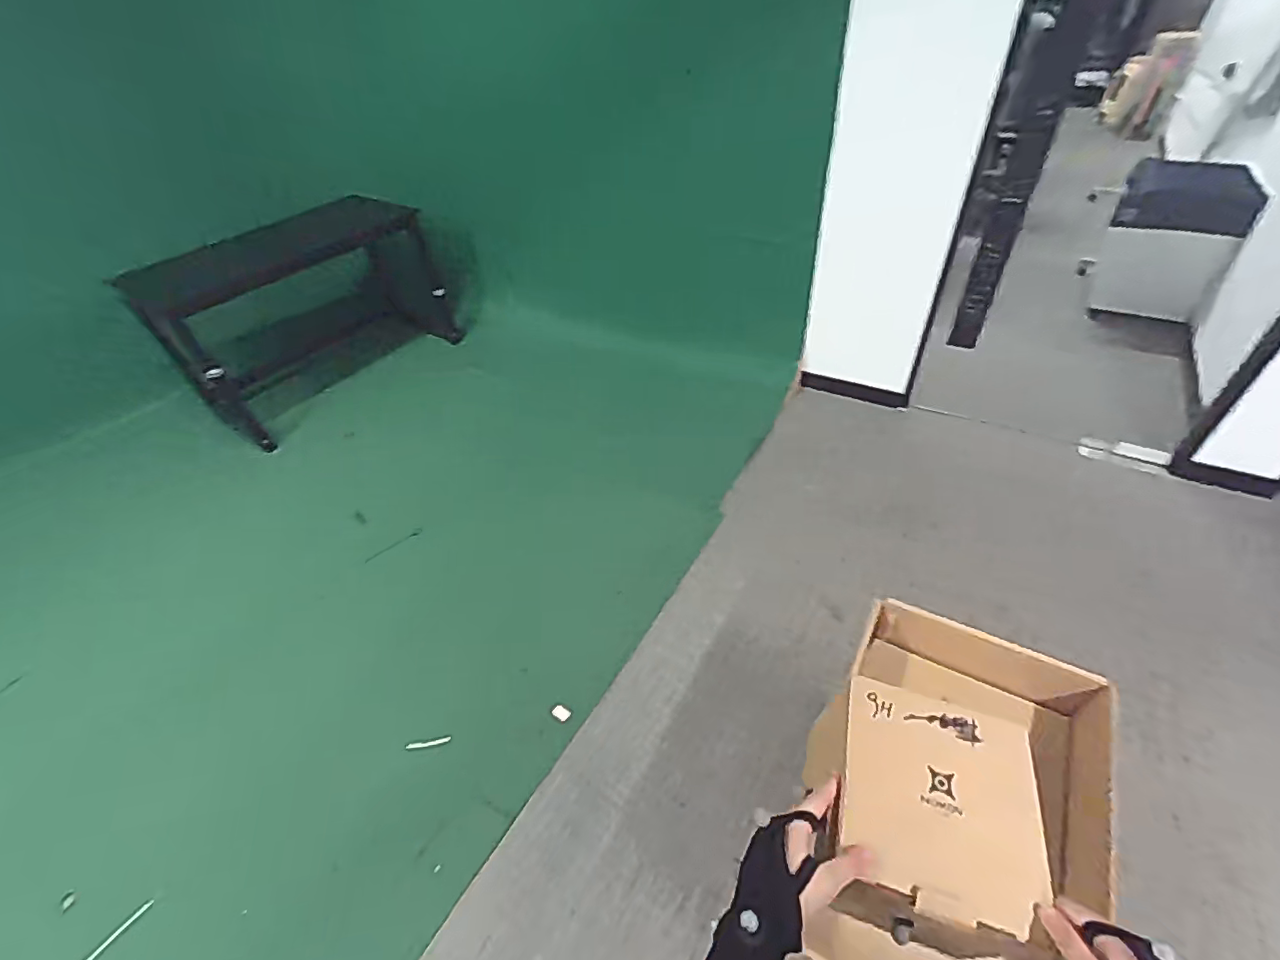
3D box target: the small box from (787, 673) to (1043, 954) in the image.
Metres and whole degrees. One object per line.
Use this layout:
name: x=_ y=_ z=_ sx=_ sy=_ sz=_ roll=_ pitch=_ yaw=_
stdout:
small box: x=0.251 y=0.327 z=0.533 sx=0.168 sy=0.176 sz=0.179 roll=15 pitch=50 yaw=10
